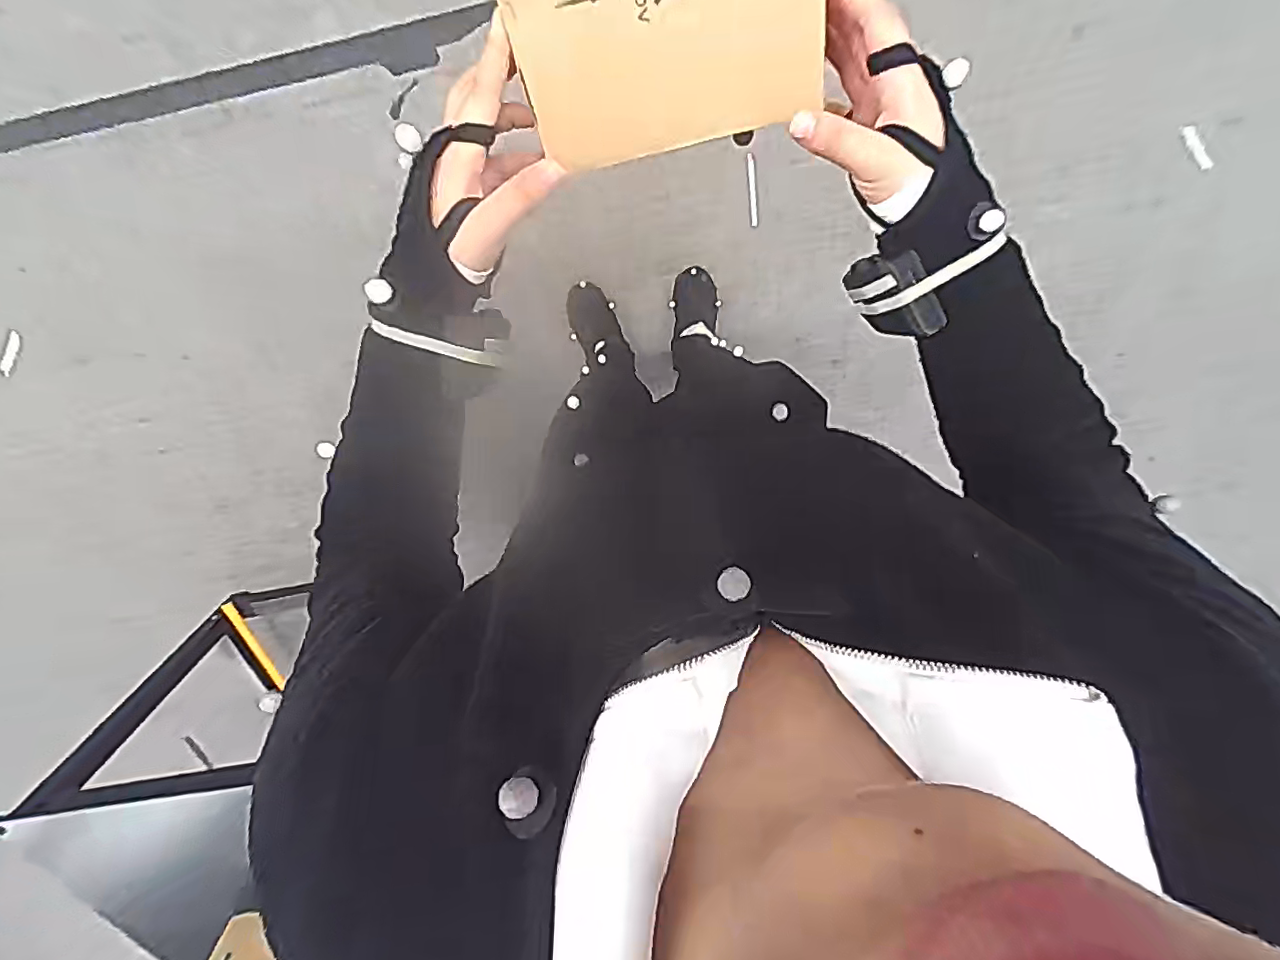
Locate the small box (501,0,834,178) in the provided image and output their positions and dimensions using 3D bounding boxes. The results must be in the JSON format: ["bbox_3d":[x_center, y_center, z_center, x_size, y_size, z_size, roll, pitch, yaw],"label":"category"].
[{"bbox_3d":[0.013,-0.320,0.336,0.179,0.176,0.168,-8,135,10],"label":"small box"}]
